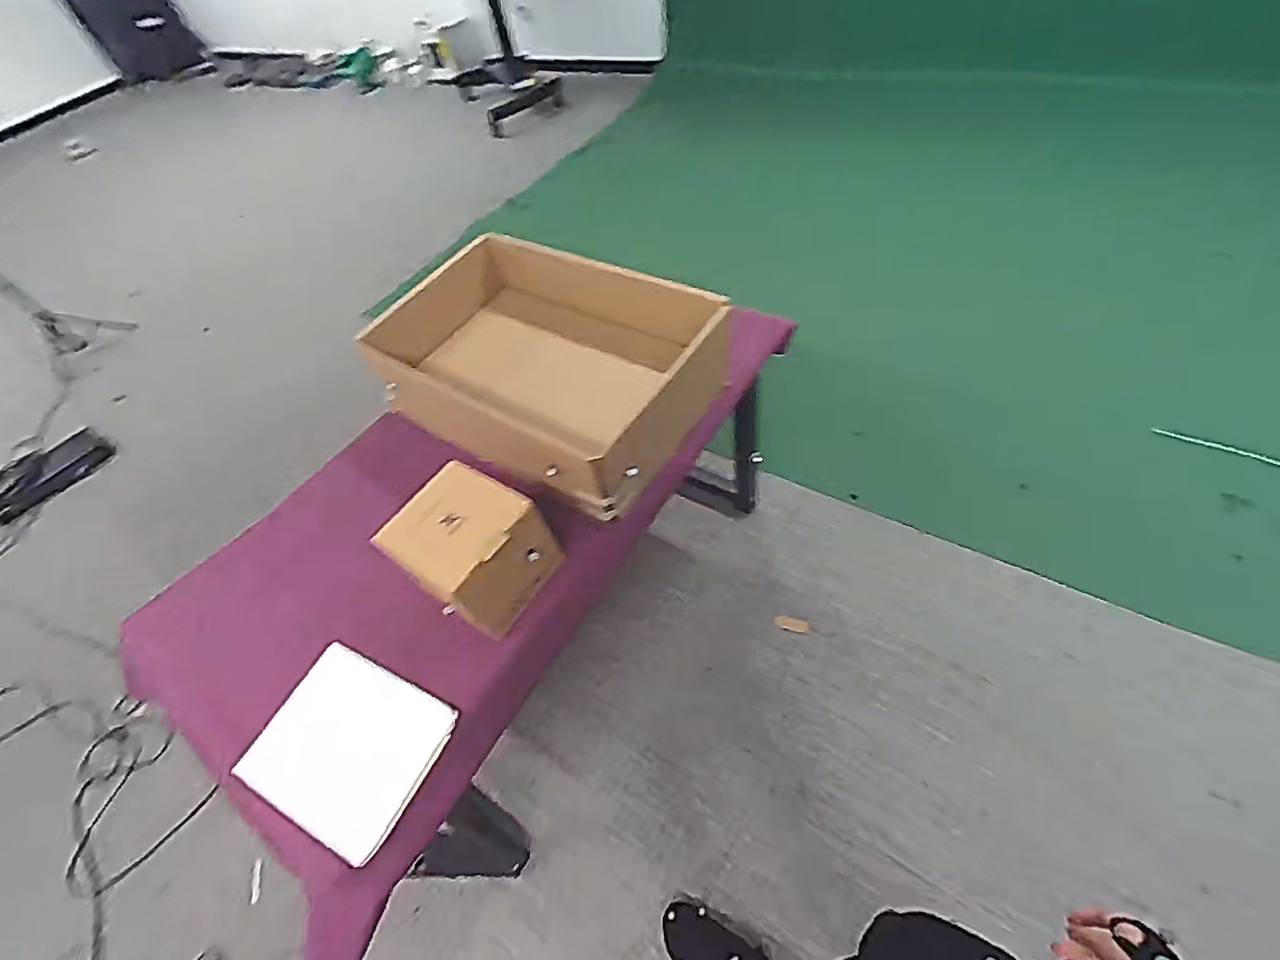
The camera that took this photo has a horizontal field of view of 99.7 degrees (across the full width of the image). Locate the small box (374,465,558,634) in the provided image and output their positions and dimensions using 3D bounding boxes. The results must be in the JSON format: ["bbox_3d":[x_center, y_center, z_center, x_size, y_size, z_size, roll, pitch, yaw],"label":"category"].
[{"bbox_3d":[-0.253,0.112,0.829,0.179,0.176,0.168,24,61,28],"label":"small box"}]
